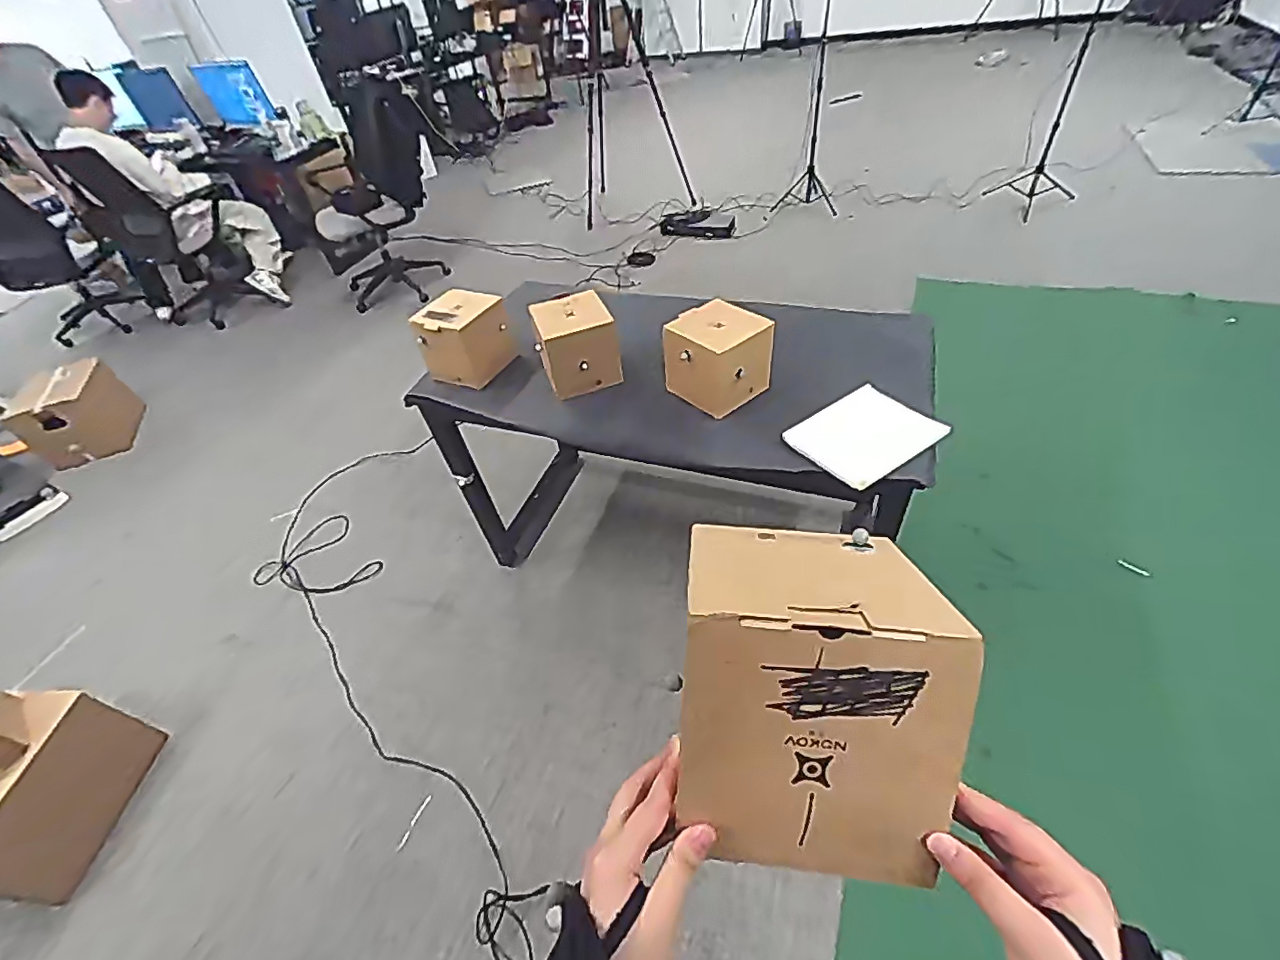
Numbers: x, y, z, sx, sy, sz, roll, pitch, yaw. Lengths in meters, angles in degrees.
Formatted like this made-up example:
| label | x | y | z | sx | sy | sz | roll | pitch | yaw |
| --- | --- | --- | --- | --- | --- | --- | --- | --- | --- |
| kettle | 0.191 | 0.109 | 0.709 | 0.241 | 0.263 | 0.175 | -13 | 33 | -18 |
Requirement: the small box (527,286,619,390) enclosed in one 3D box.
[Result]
| label | x | y | z | sx | sy | sz | roll | pitch | yaw |
| --- | --- | --- | --- | --- | --- | --- | --- | --- | --- |
| small box | -0.157 | -0.334 | 1.296 | 0.168 | 0.176 | 0.179 | -18 | 46 | -10 |

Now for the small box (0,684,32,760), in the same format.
| label | x | y | z | sx | sy | sz | roll | pitch | yaw |
| --- | --- | --- | --- | --- | --- | --- | --- | --- | --- |
| small box | -1.560 | 0.569 | 1.234 | 0.179 | 0.176 | 0.168 | 32 | 58 | 30 |

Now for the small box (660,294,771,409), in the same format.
| label | x | y | z | sx | sy | sz | roll | pitch | yaw |
| --- | --- | --- | --- | --- | --- | --- | --- | --- | --- |
| small box | 0.167 | -0.278 | 1.193 | 0.168 | 0.176 | 0.179 | -34 | 49 | -23 |
